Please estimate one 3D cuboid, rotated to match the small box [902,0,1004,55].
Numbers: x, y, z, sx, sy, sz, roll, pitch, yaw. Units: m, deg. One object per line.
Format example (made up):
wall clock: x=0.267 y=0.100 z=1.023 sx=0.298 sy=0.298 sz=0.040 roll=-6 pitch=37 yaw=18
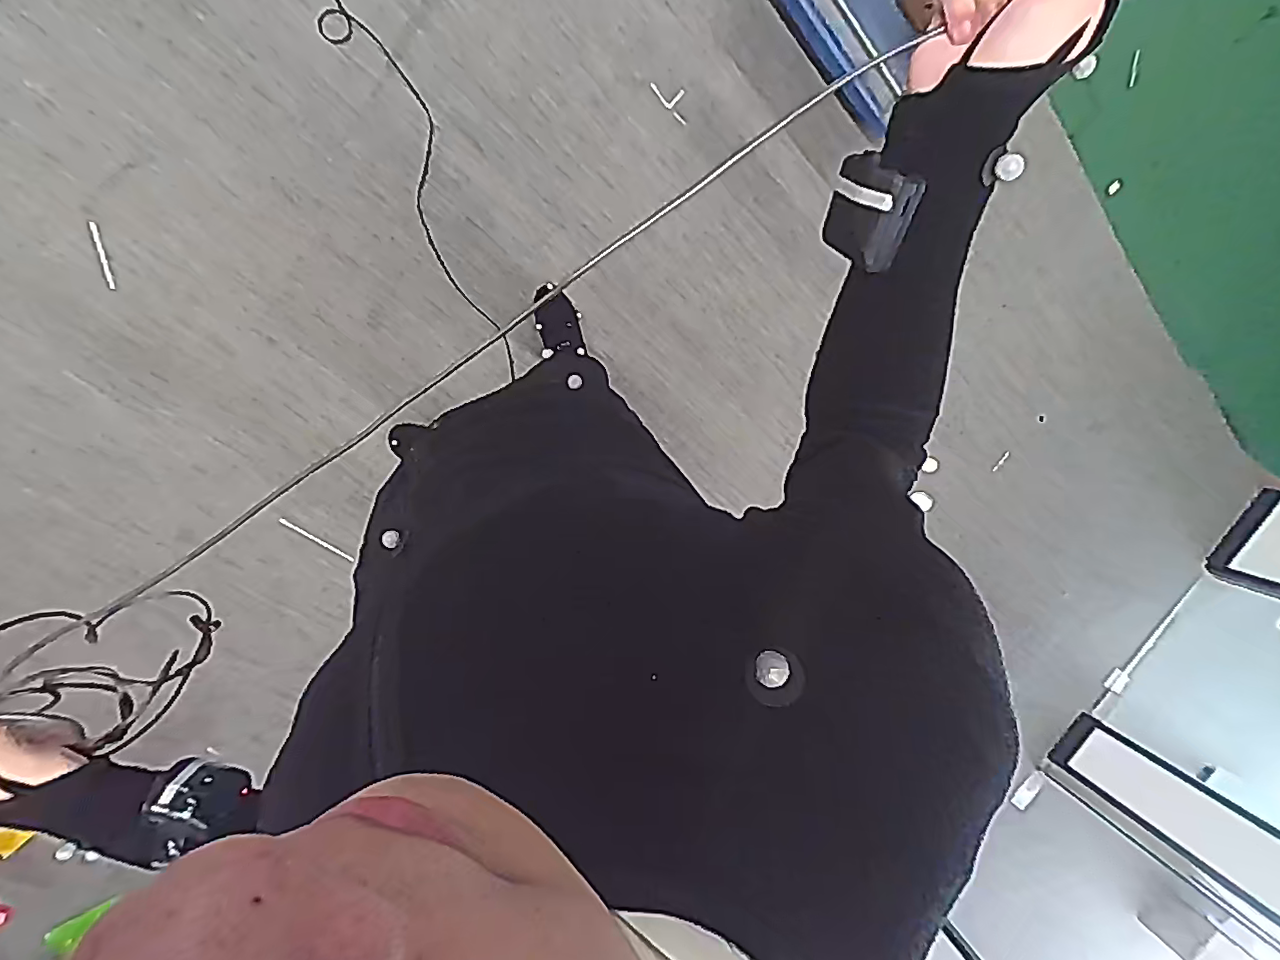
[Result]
small box: x=0.798 y=-1.226 z=1.343 sx=0.168 sy=0.176 sz=0.179 roll=41 pitch=91 yaw=-21
